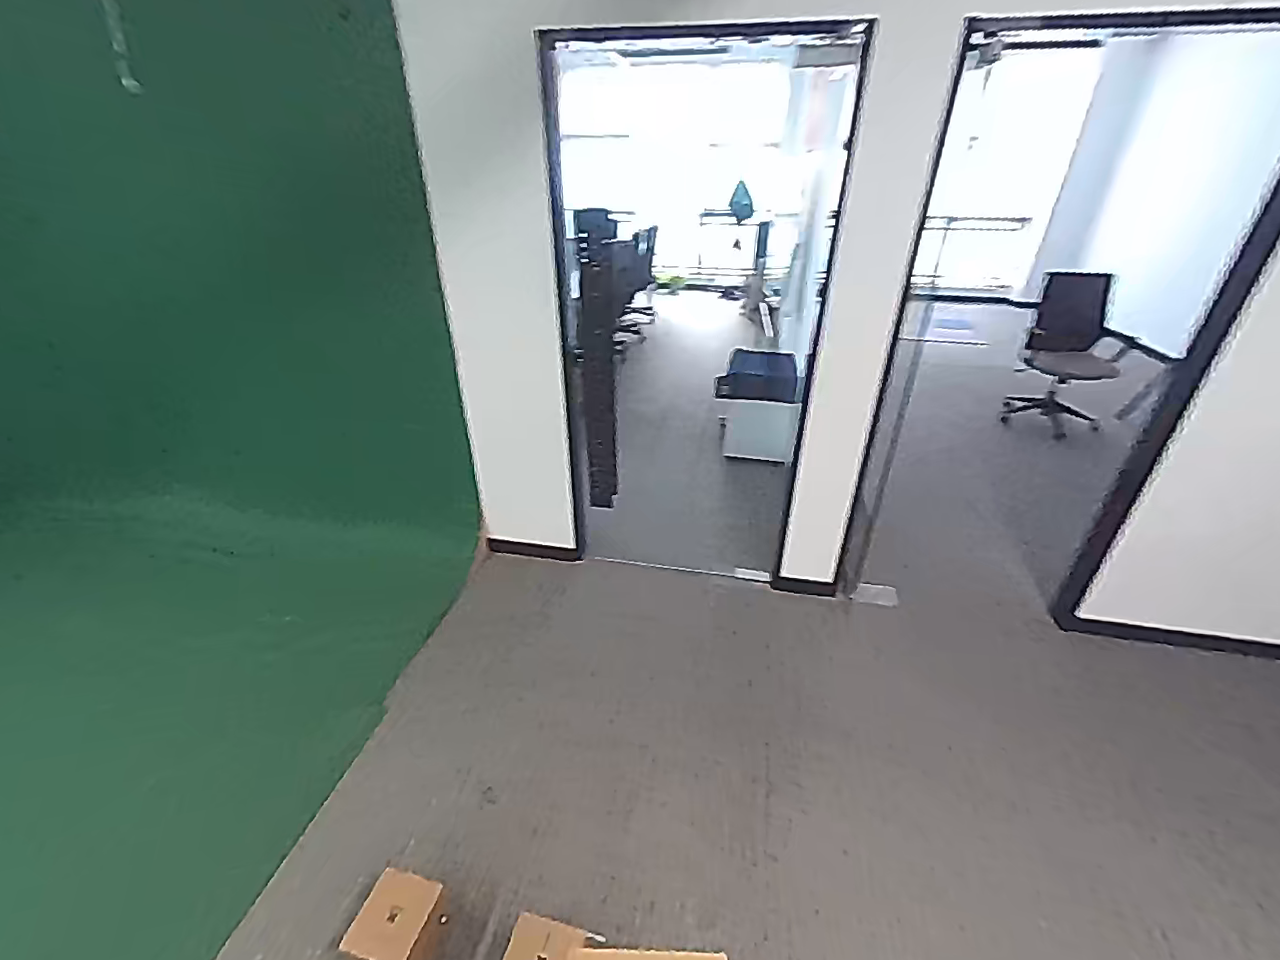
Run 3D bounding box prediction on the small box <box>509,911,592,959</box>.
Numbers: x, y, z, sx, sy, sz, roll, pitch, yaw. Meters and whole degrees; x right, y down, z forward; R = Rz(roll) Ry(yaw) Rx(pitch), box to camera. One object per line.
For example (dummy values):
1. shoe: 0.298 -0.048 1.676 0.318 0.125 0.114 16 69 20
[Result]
1. small box: -0.211 1.145 1.235 0.168 0.176 0.179 8 31 13
